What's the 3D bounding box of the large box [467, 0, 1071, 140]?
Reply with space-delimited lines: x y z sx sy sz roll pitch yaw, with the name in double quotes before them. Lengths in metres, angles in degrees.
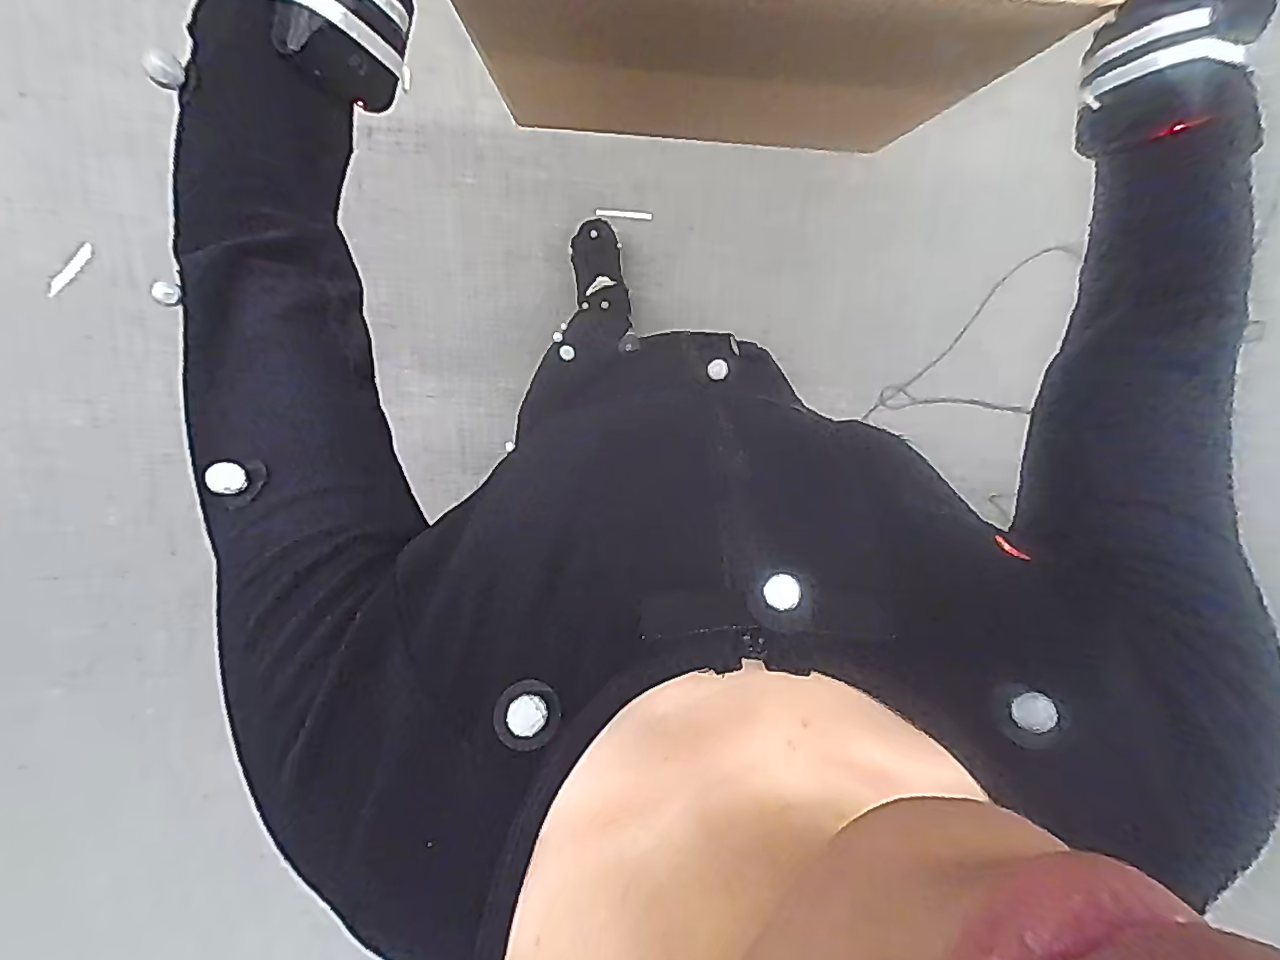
"large box" 0.076 -0.487 0.415 0.408 0.320 0.320 1 108 -4
